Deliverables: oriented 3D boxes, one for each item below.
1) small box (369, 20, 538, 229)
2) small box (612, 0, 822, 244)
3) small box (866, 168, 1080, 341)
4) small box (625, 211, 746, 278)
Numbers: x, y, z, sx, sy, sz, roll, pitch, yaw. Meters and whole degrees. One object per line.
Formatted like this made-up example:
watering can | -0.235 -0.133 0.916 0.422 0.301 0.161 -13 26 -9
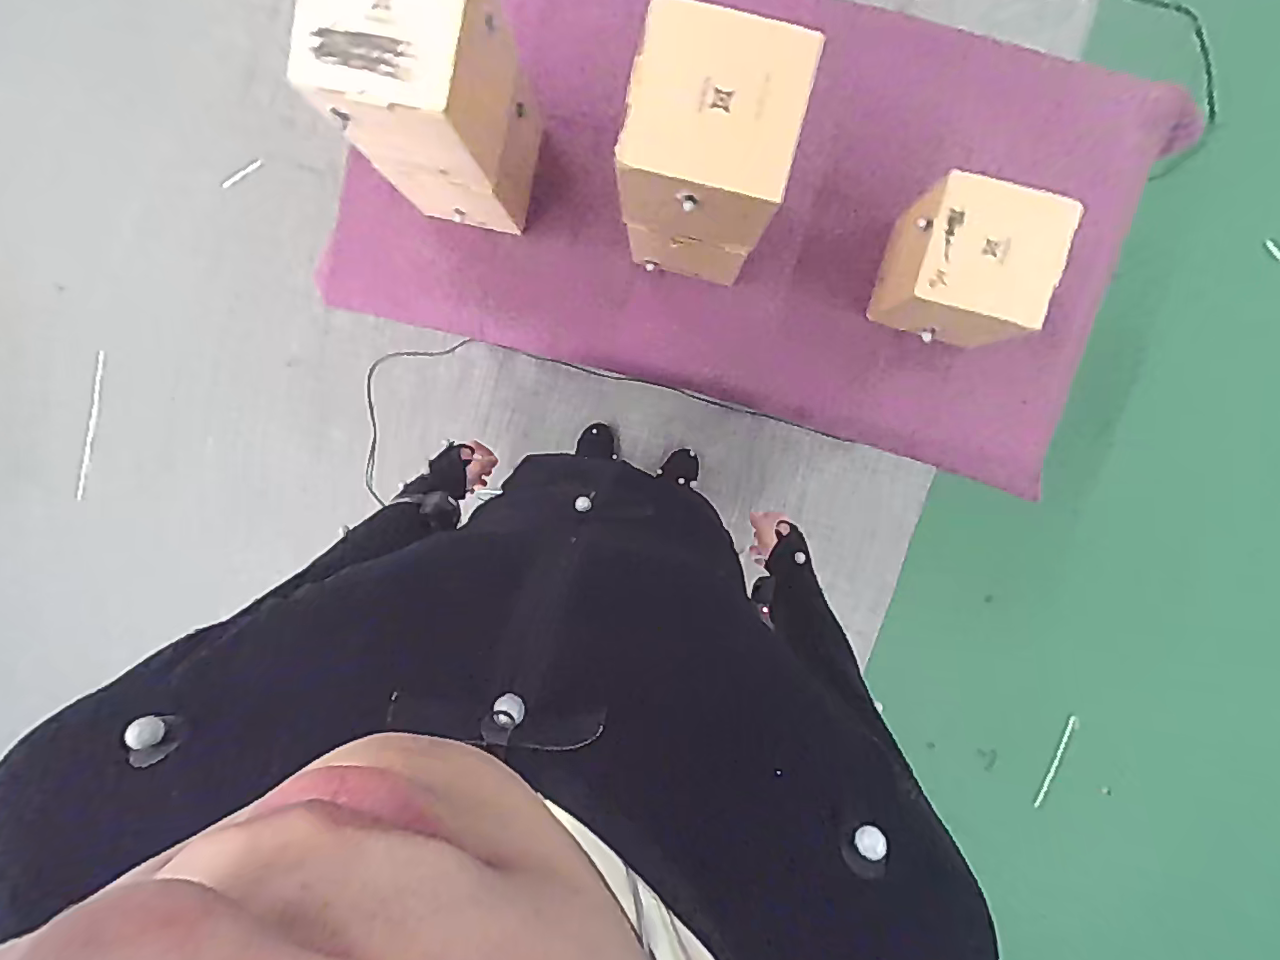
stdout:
small box | -0.254 -0.493 0.778 0.168 0.176 0.179 13 96 0
small box | 0.077 -0.391 0.616 0.179 0.176 0.168 14 97 0
small box | 0.460 -0.307 0.777 0.179 0.176 0.168 16 96 0
small box | 0.083 -0.411 0.778 0.168 0.176 0.179 14 95 0
